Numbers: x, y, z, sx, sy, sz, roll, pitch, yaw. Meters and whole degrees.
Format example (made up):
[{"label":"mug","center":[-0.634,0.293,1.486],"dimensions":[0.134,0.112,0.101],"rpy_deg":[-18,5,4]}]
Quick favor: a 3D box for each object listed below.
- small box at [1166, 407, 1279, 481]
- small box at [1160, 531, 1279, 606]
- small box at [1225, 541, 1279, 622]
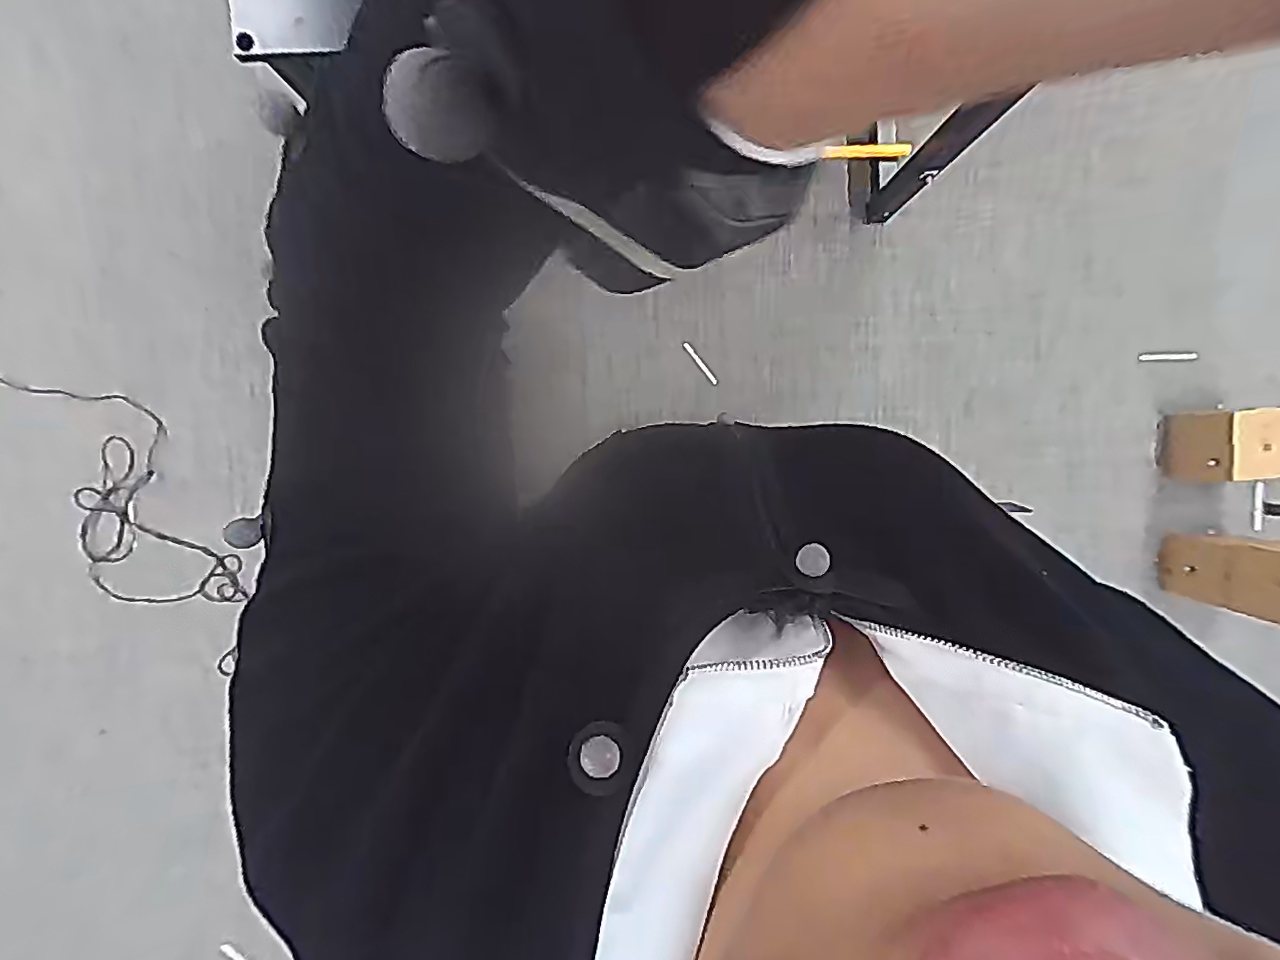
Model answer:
[{"label":"small box","center":[1.525,-0.096,1.405],"dimensions":[0.168,0.176,0.179],"rpy_deg":[-5,94,0]},{"label":"small box","center":[1.542,0.231,1.433],"dimensions":[0.179,0.176,0.168],"rpy_deg":[0,95,1]},{"label":"small box","center":[1.543,0.240,1.268],"dimensions":[0.168,0.176,0.179],"rpy_deg":[-2,95,0]}]
